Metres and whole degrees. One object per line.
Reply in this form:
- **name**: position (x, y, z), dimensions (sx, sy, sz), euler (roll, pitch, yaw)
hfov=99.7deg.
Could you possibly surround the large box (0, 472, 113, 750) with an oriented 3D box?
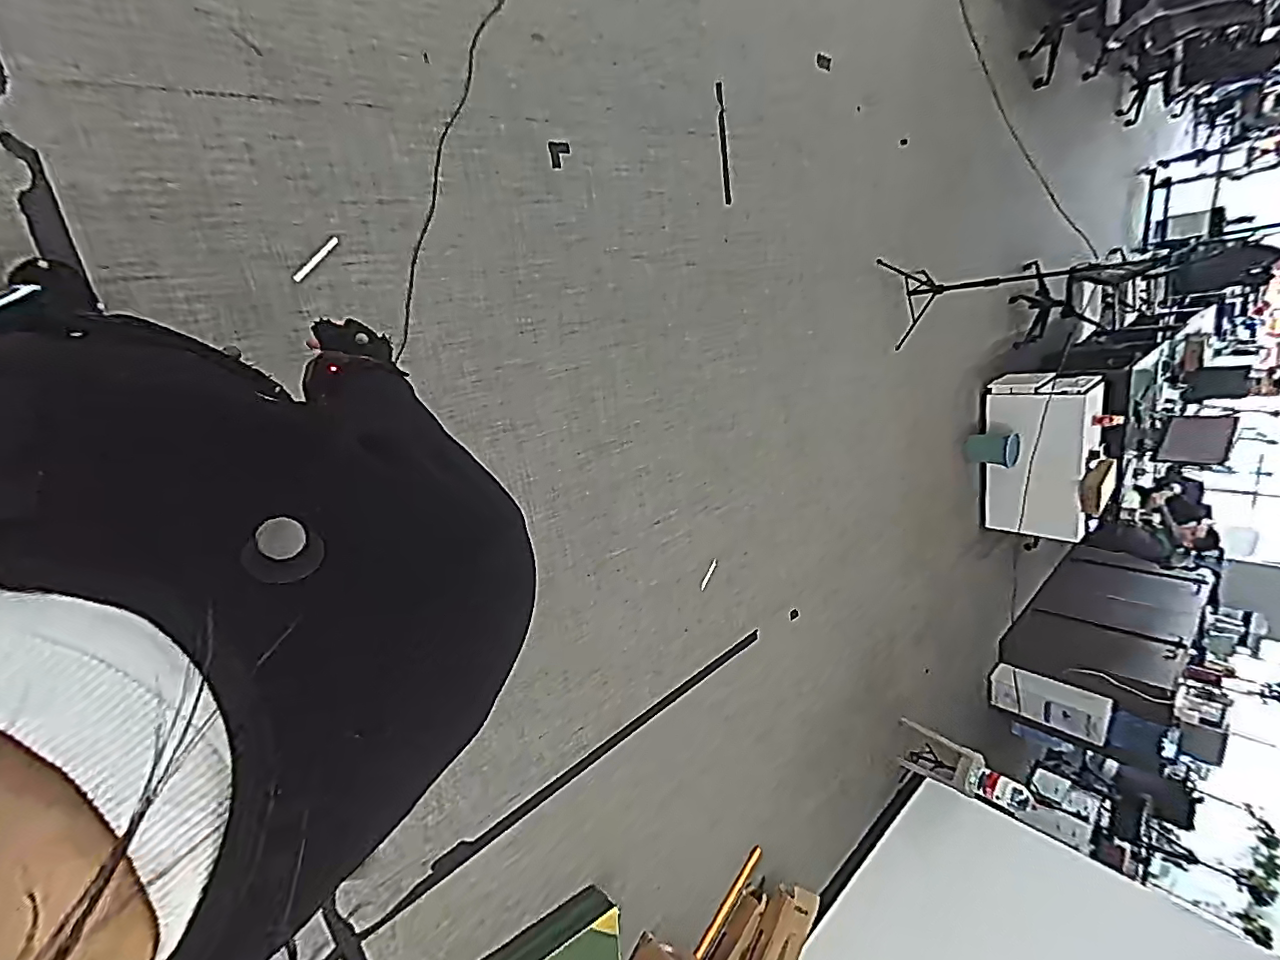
- **large box**: position (-0.894, 0.127, 0.581), dimensions (0.320, 0.408, 0.320), euler (-35, 148, -31)
